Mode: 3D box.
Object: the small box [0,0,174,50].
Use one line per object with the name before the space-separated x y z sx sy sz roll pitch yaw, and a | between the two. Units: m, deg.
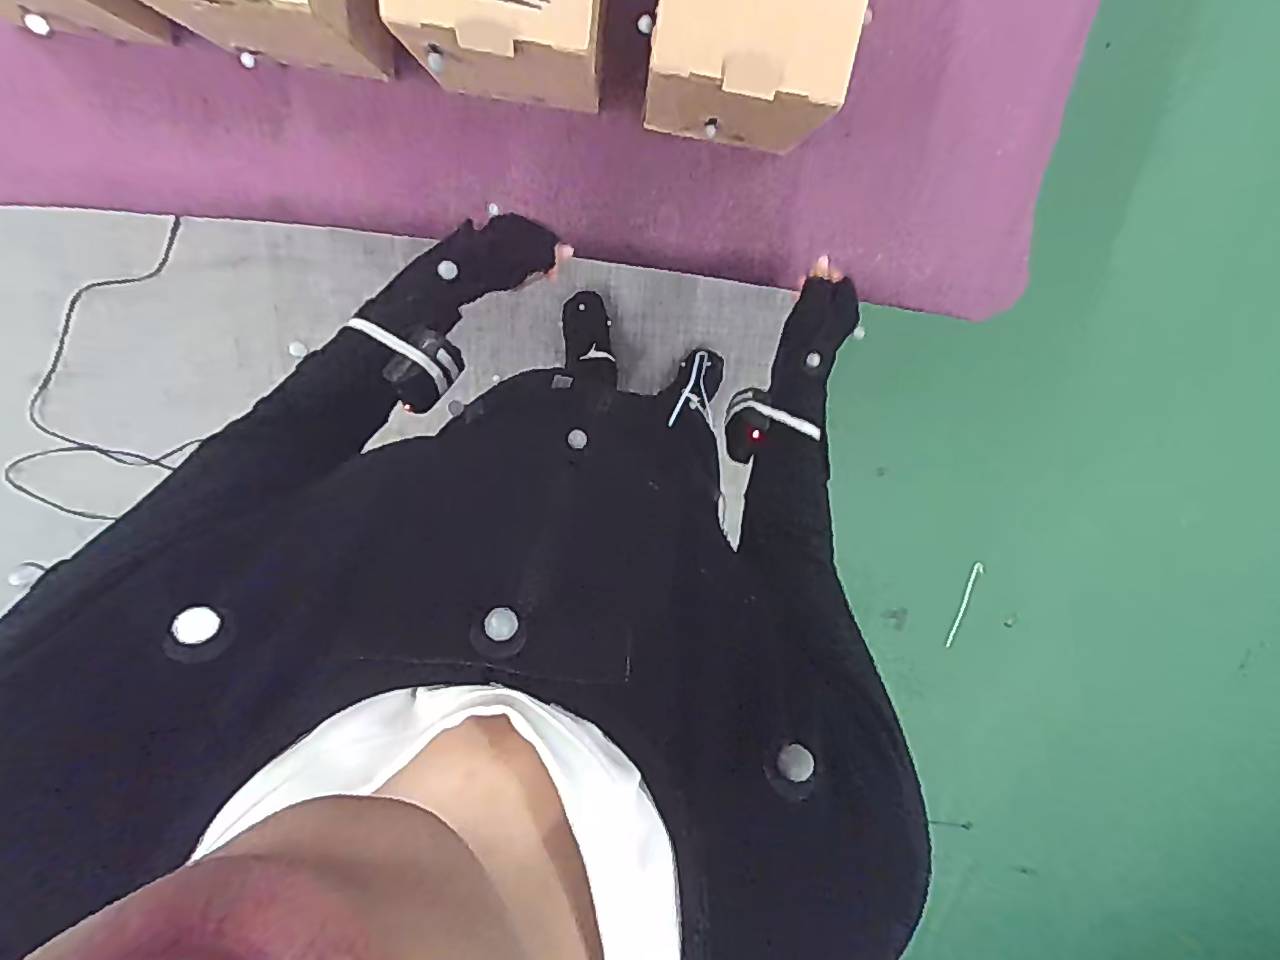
small box | -0.542 -0.505 0.448 0.168 0.176 0.179 6 110 -4
